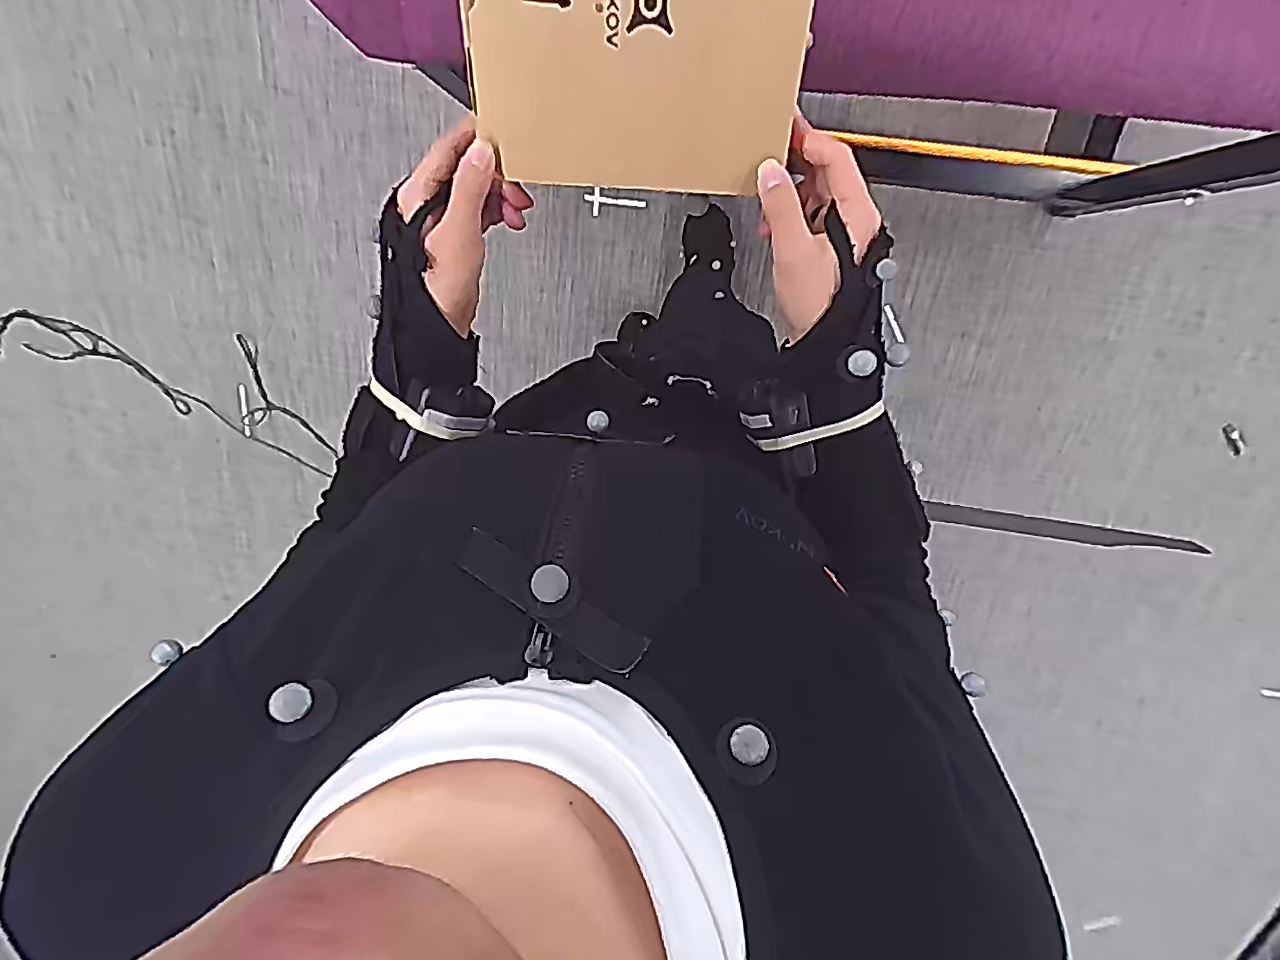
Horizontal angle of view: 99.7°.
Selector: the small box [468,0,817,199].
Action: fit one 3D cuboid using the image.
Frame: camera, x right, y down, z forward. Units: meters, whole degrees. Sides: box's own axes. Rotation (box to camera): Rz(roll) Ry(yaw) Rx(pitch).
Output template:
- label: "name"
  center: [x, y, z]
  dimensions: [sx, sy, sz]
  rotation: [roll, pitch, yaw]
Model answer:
- label: "small box"
  center: [0.006, -0.282, 0.332]
  dimensions: [0.179, 0.176, 0.168]
  rotation: [6, 124, 2]
